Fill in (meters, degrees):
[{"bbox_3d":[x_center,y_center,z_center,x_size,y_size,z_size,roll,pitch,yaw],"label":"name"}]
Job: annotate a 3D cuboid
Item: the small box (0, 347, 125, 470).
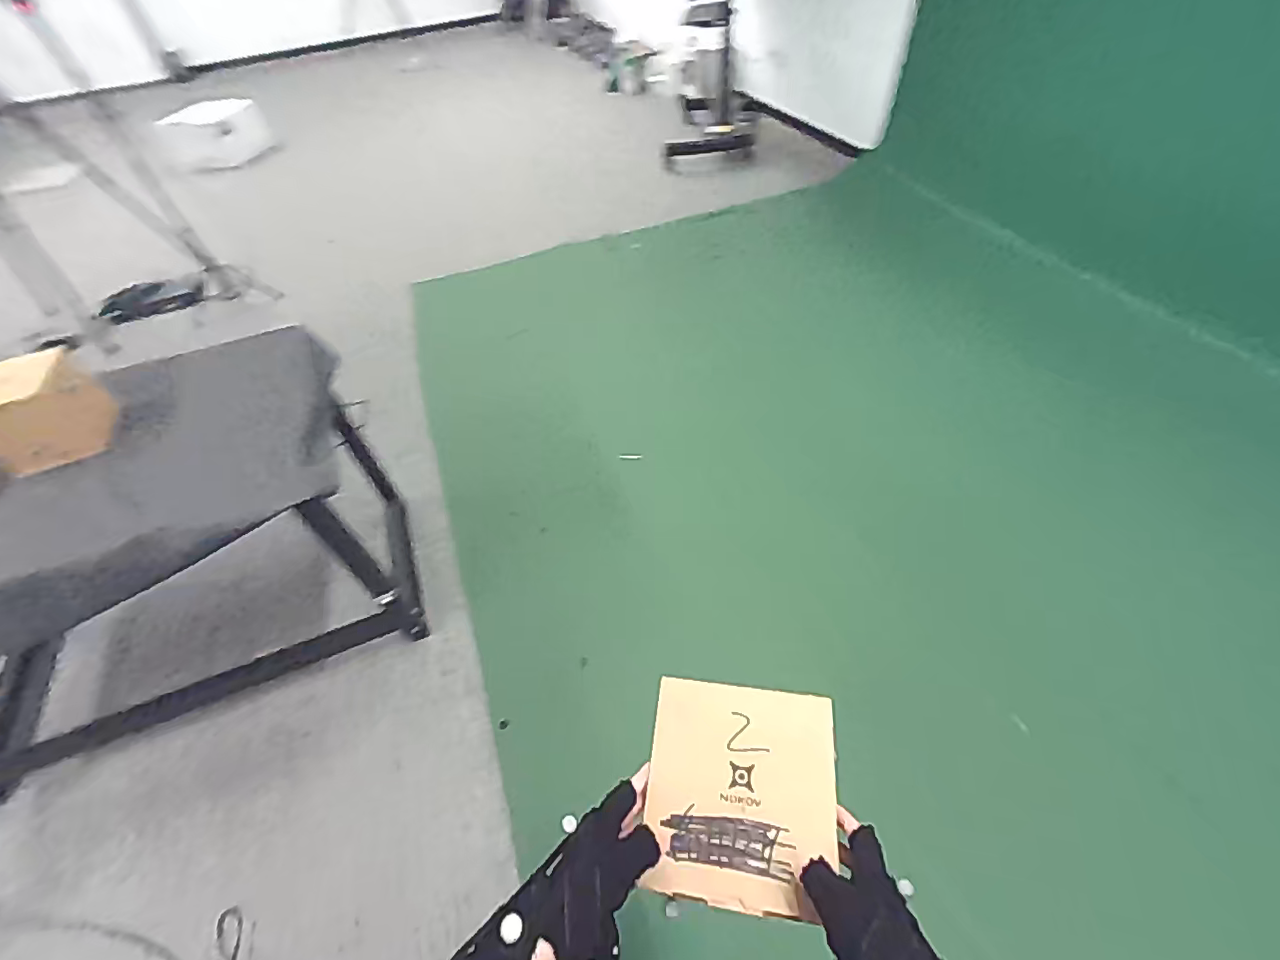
[{"bbox_3d":[-1.265,-0.152,1.157,0.168,0.176,0.179,-19,51,-12],"label":"small box"}]
